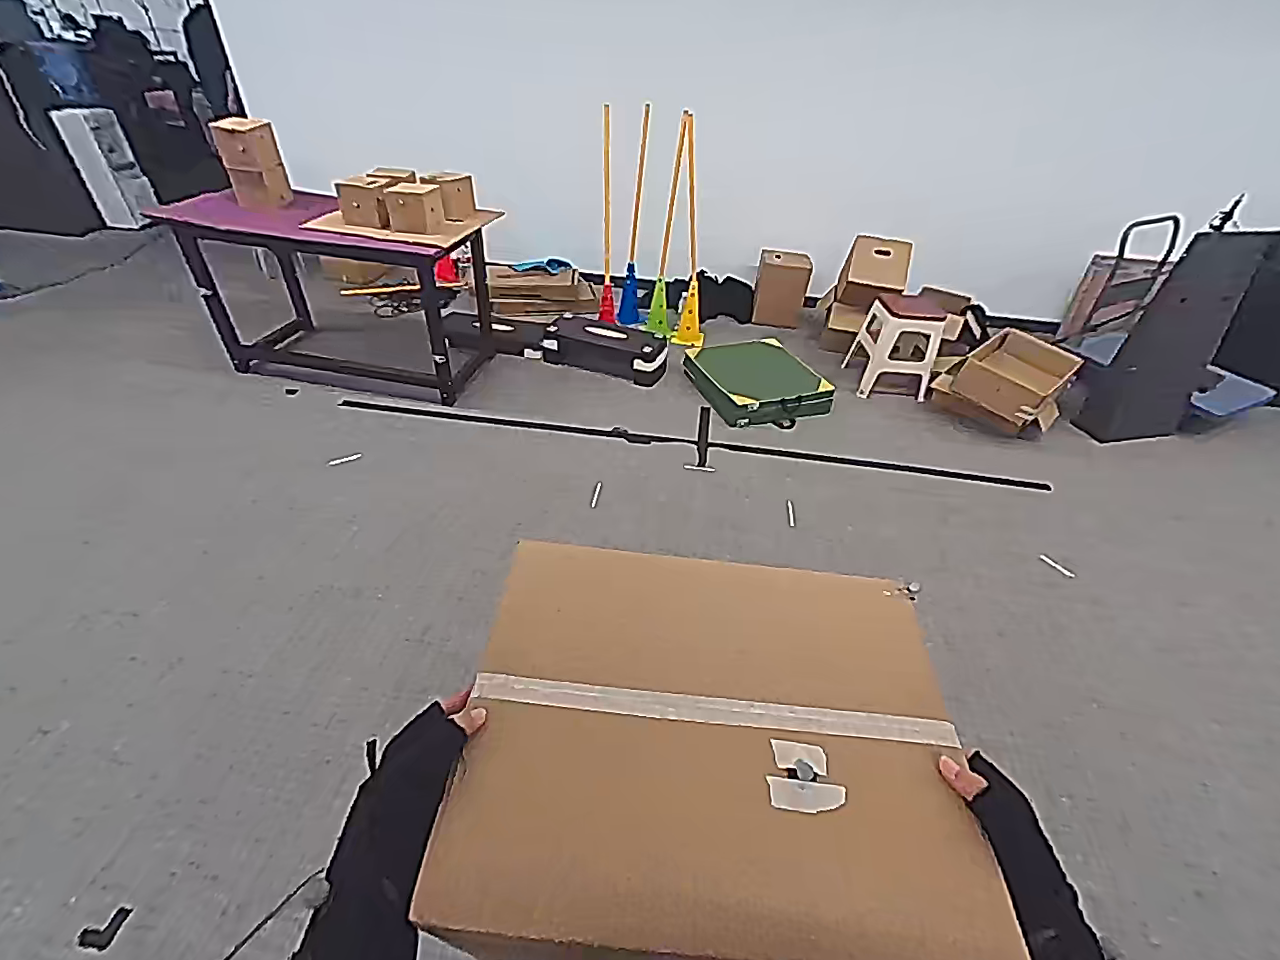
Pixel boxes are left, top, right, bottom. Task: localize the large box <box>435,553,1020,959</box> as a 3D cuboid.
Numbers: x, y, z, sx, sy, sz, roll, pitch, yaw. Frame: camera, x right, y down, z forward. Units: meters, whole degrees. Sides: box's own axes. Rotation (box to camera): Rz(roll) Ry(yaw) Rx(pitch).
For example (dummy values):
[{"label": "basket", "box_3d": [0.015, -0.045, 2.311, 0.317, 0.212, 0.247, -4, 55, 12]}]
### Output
[{"label": "large box", "box_3d": [0.055, 0.307, 0.566, 0.408, 0.320, 0.320, 6, 46, 0]}]
